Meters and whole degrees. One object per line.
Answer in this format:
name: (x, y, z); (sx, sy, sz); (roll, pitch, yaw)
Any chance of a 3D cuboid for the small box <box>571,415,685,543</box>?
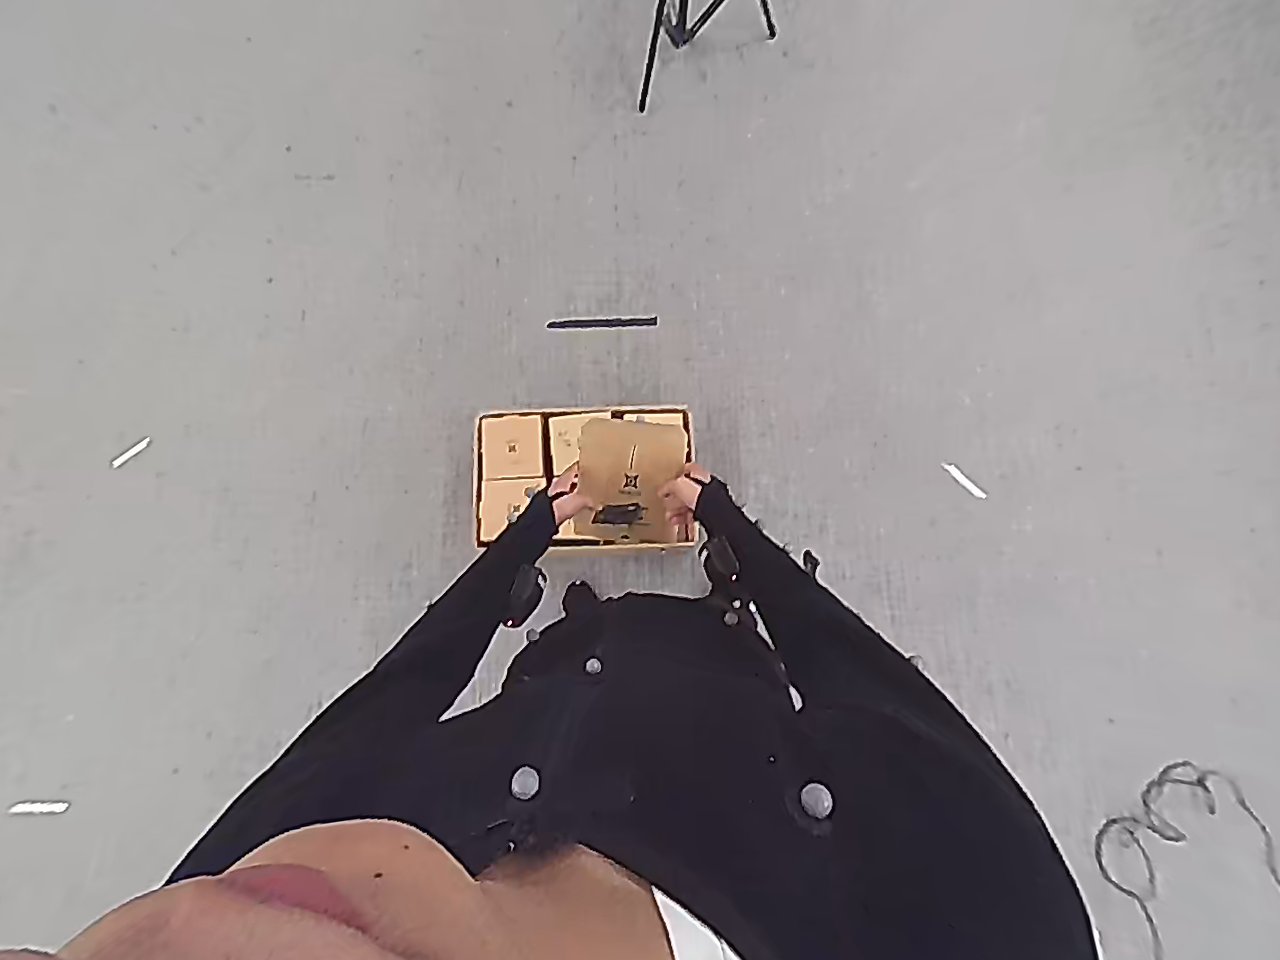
small box: (-0.018, -0.009, 0.916); (0.168, 0.176, 0.179); (6, 101, -1)
